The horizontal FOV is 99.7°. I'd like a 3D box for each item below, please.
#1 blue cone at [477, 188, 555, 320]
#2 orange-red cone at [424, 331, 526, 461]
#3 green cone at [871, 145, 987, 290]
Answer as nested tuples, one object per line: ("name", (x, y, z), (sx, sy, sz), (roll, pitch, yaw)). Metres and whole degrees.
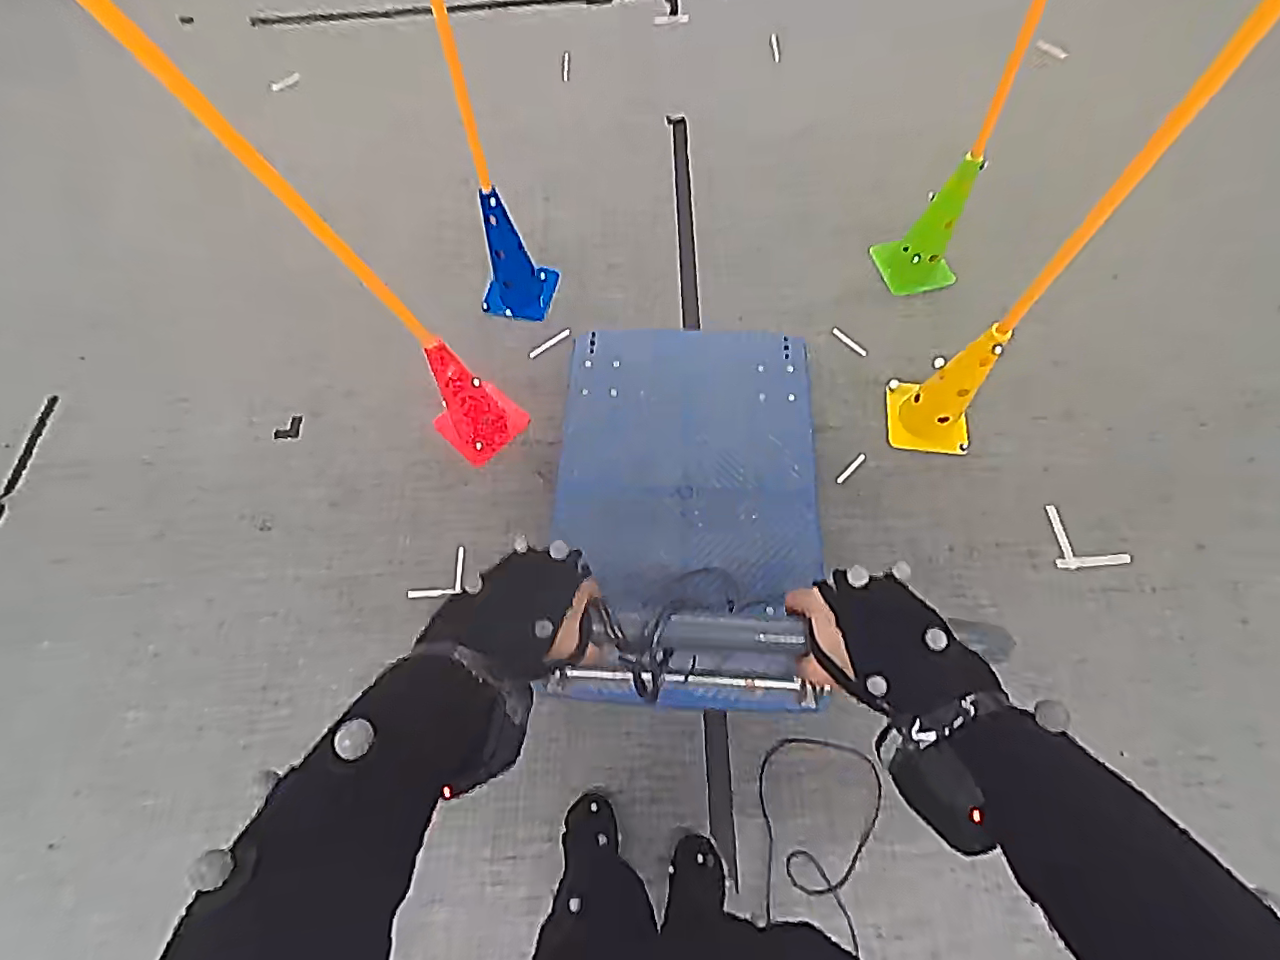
("blue cone", (-0.368, -0.633, 1.482), (0.193, 0.380, 0.192), (12, 69, 7))
("orange-red cone", (-0.436, -0.233, 1.302), (0.198, 0.360, 0.199), (41, 73, 16))
("green cone", (0.810, -0.726, 1.457), (0.200, 0.368, 0.202), (-15, 69, -4))
